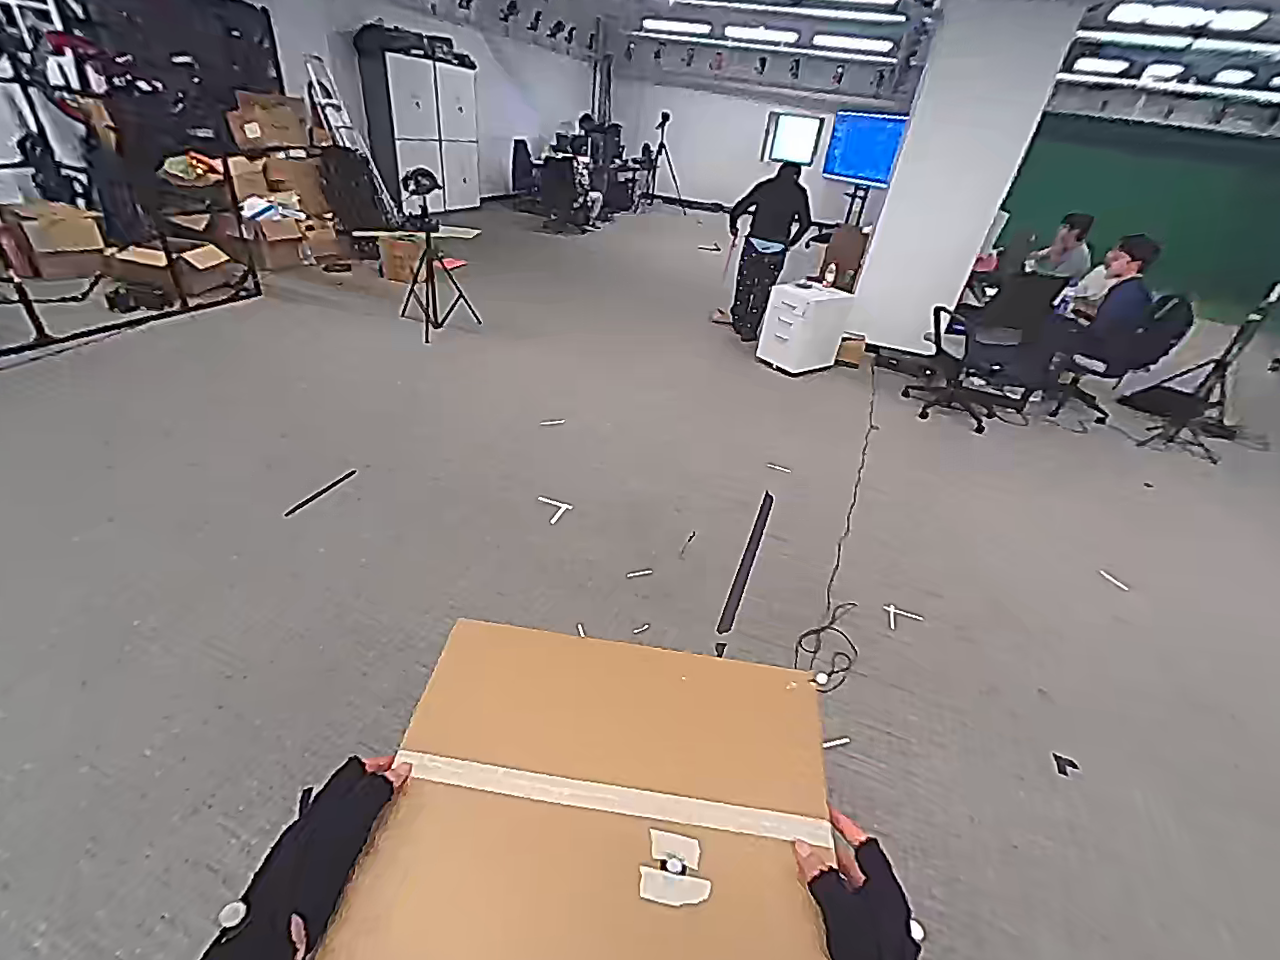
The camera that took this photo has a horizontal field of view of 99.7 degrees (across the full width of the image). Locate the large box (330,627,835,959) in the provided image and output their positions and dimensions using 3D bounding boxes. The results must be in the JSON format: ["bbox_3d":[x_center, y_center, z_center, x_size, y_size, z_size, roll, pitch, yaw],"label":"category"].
[{"bbox_3d":[-0.035,0.406,0.613,0.408,0.320,0.320,8,45,4],"label":"large box"}]
